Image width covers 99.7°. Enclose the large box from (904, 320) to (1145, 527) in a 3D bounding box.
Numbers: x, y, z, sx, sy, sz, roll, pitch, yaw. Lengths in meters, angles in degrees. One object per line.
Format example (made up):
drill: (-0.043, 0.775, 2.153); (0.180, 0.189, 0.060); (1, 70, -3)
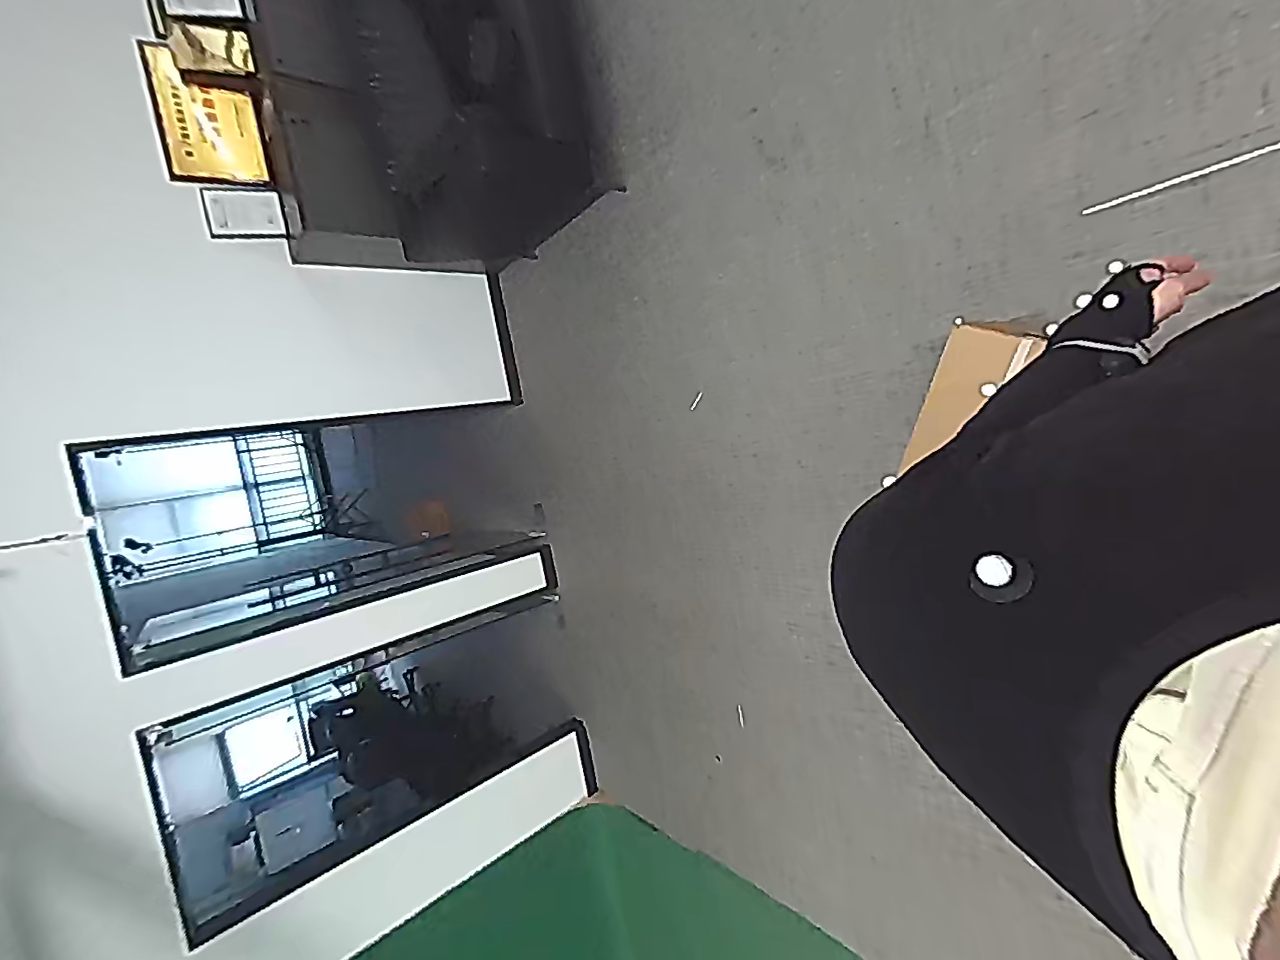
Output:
large box: (0.916, -0.153, 1.313); (0.320, 0.320, 0.408); (32, 123, 41)
